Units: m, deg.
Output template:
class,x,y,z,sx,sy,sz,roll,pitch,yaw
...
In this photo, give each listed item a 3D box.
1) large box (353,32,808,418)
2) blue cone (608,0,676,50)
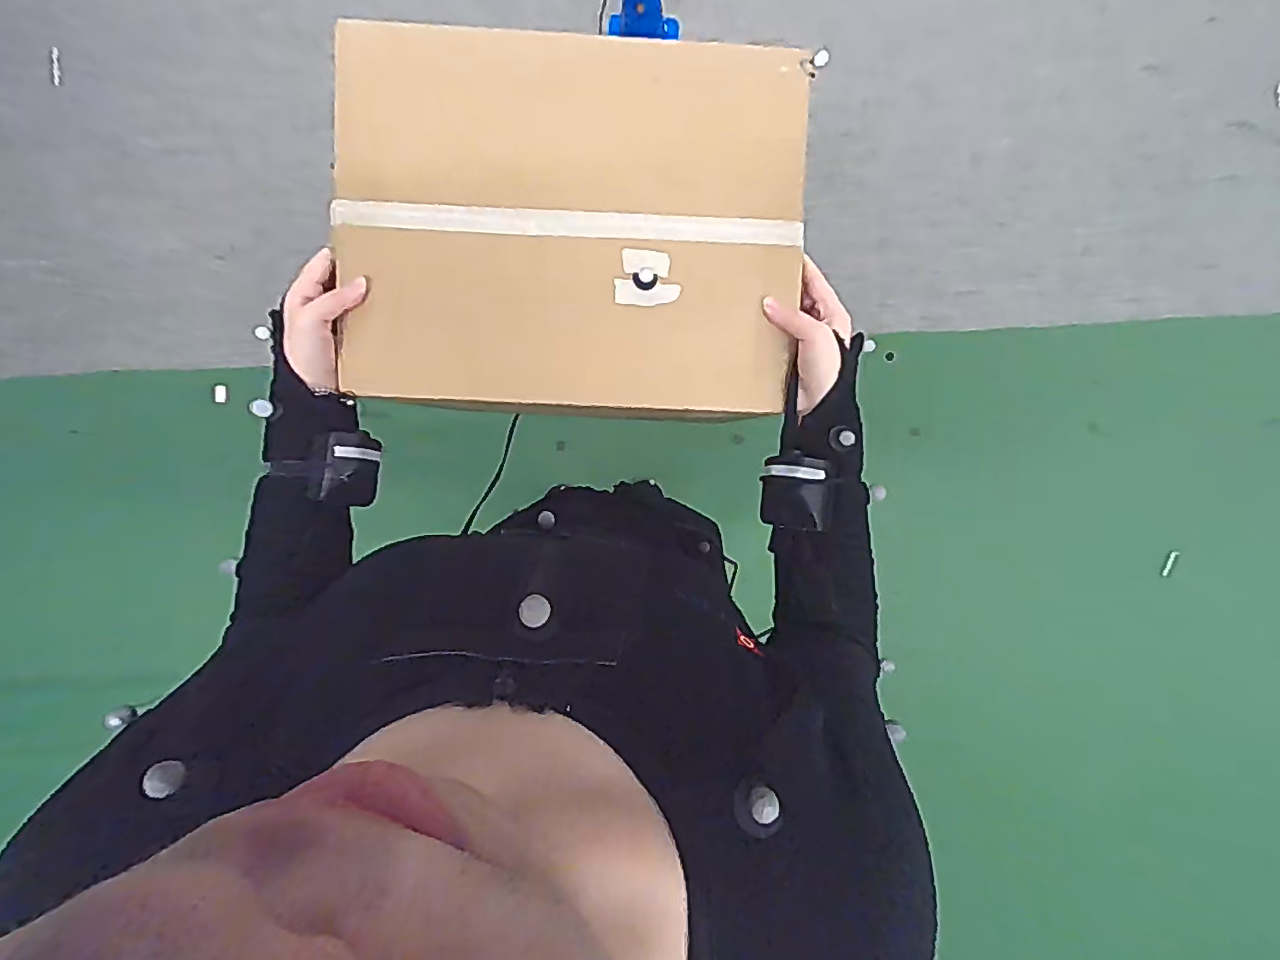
class,x,y,z,sx,sy,sz,roll,pitch,yaw
large box,-0.060,-0.238,0.629,0.408,0.320,0.320,2,95,-3
blue cone,0.004,-1.197,1.362,0.193,0.380,0.192,6,90,0
